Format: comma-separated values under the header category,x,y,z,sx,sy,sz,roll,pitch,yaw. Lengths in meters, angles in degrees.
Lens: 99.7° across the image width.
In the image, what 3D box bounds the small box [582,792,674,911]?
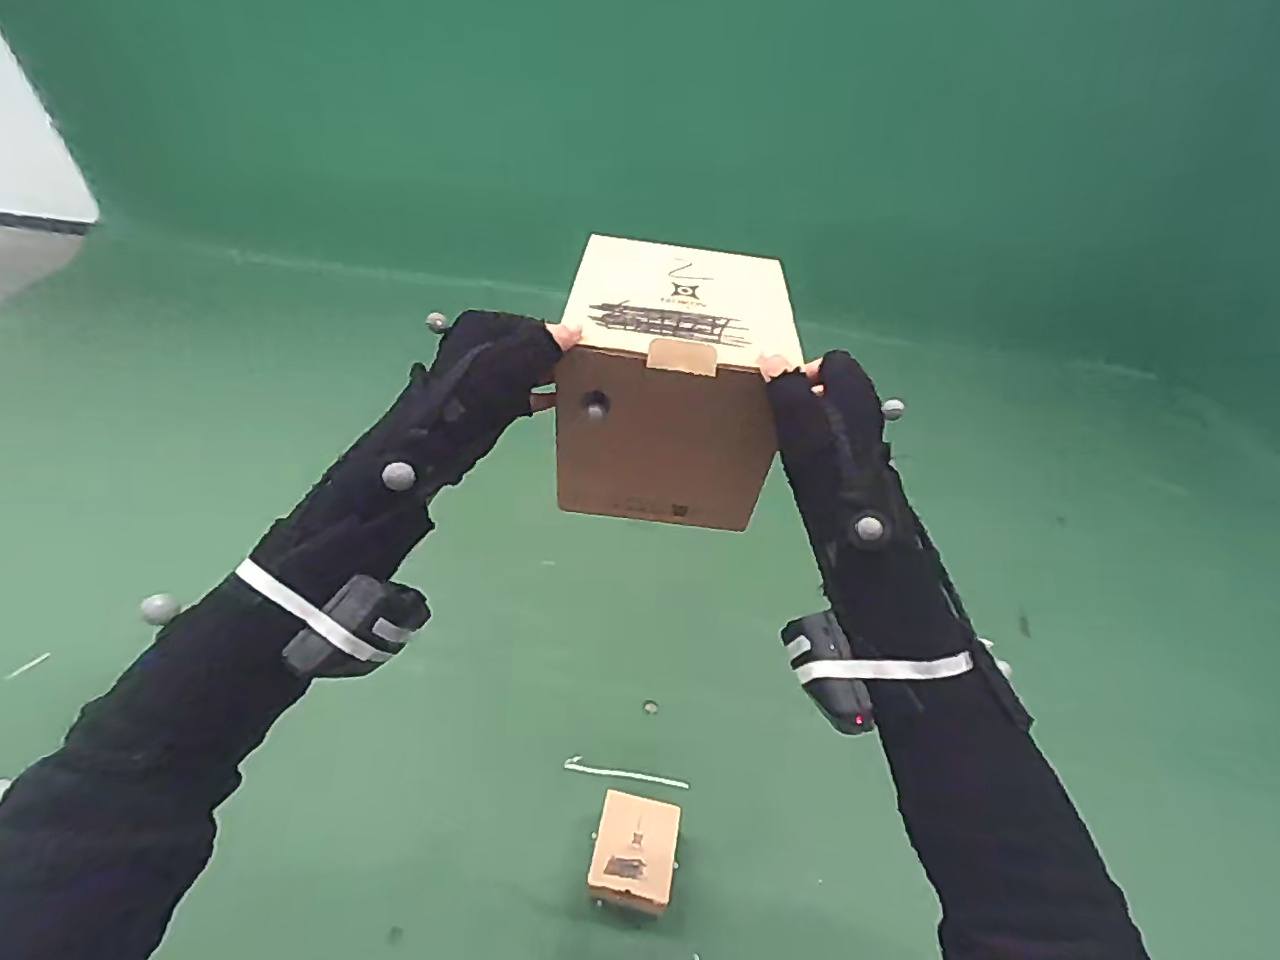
category,x,y,z,sx,sy,sz,roll,pitch,yaw
small box,-0.025,0.811,1.175,0.168,0.176,0.179,9,47,3
